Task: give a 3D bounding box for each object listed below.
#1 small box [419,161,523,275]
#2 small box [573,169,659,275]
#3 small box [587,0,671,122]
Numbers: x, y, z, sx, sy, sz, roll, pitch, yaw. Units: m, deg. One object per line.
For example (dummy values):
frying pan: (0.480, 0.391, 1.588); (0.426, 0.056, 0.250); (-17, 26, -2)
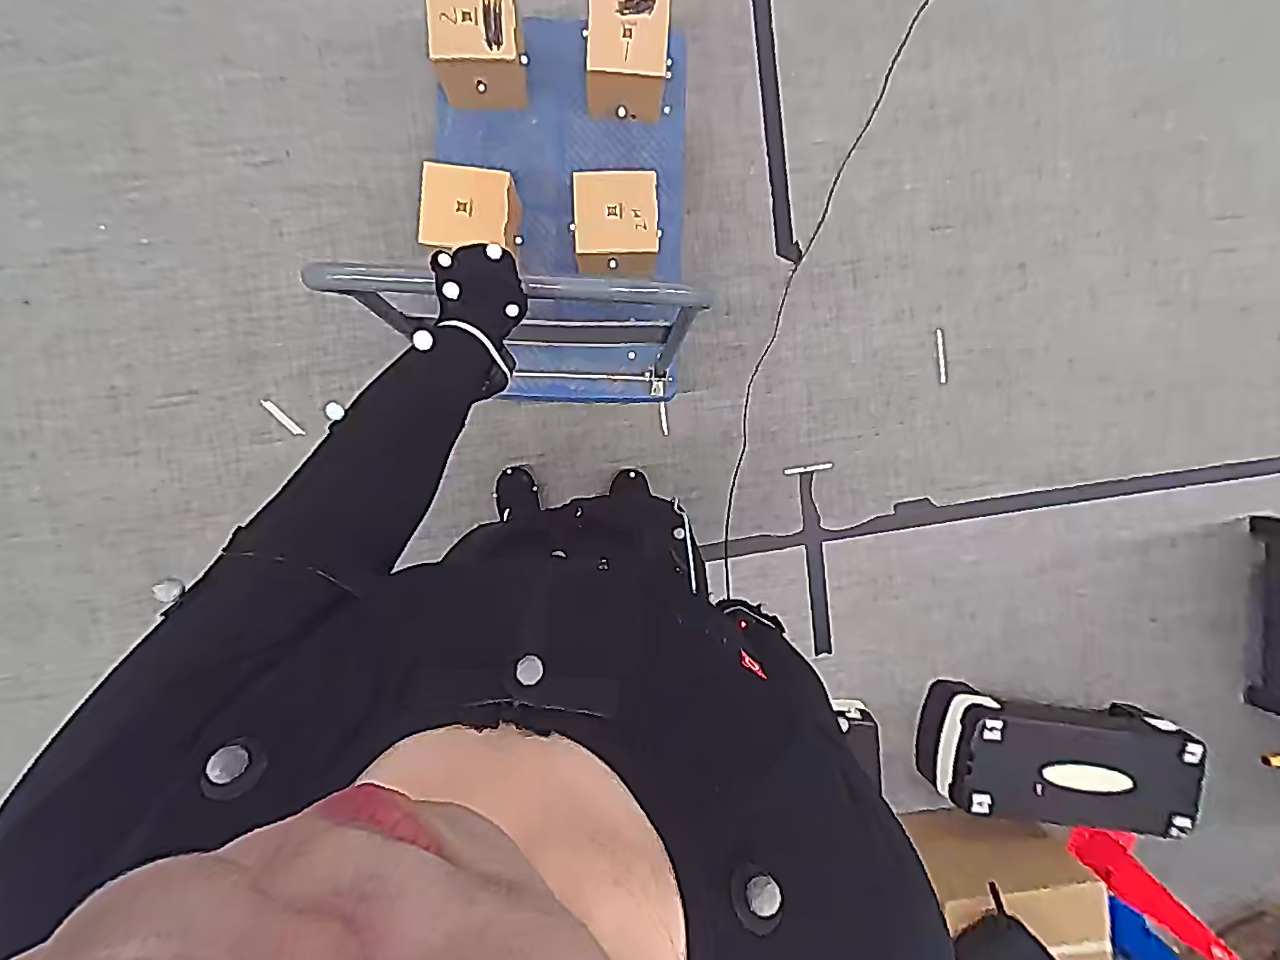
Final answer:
small box: (-0.361, -0.561, 1.178); (0.179, 0.176, 0.168); (4, 92, -5)
small box: (-0.052, -0.561, 1.195); (0.179, 0.176, 0.168); (-2, 93, -3)
small box: (-0.027, -0.926, 1.176); (0.168, 0.176, 0.179); (3, 94, -3)
